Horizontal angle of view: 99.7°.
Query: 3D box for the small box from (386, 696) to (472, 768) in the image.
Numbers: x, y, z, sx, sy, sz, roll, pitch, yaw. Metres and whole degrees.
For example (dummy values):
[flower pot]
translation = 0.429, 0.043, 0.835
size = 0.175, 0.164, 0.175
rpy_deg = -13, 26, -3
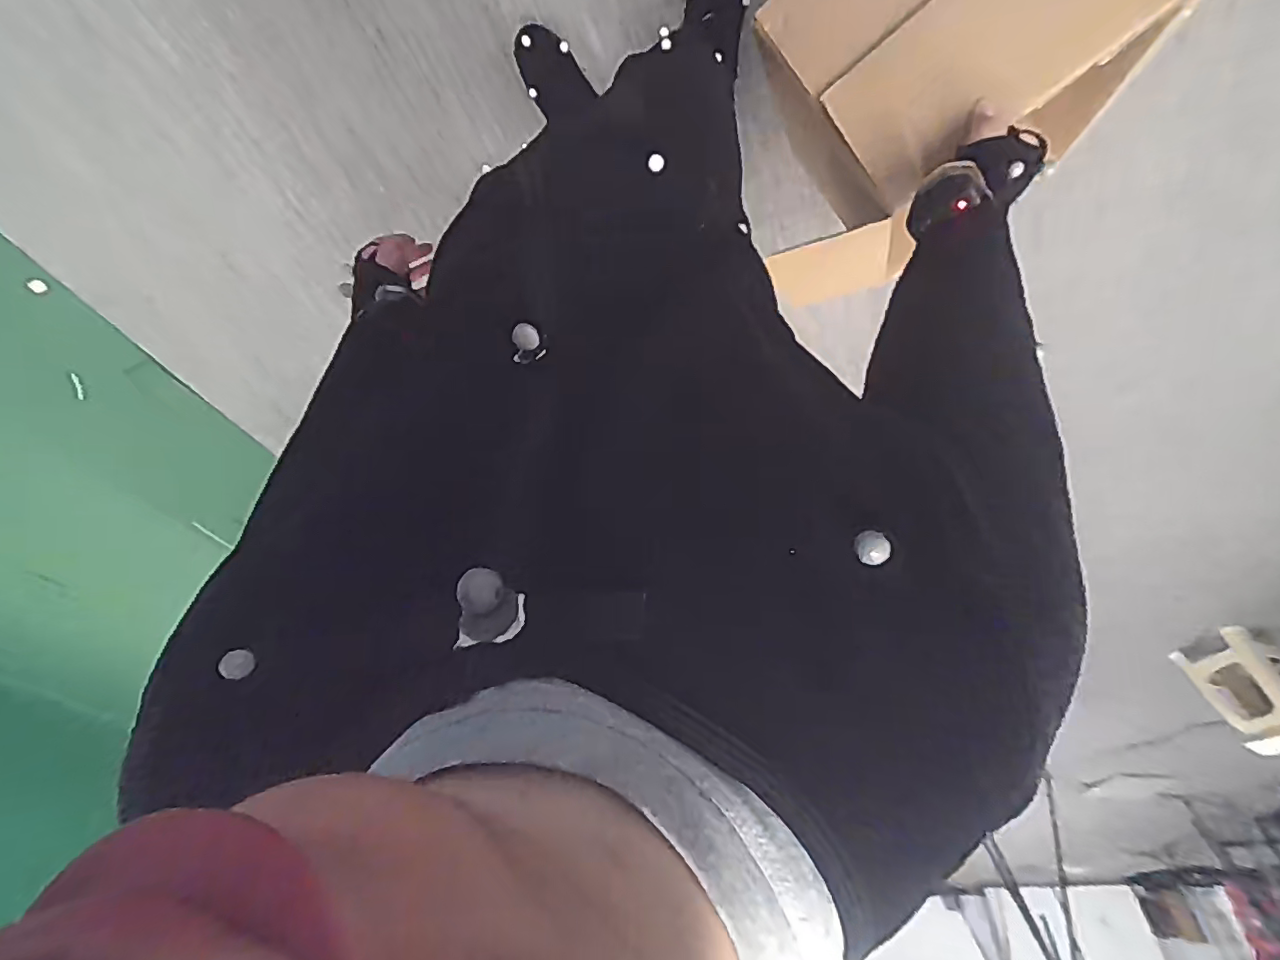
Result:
[small box]
translation = -0.675, 0.809, 1.747
size = 0.168, 0.176, 0.179
rpy_deg = -15, 133, 17
